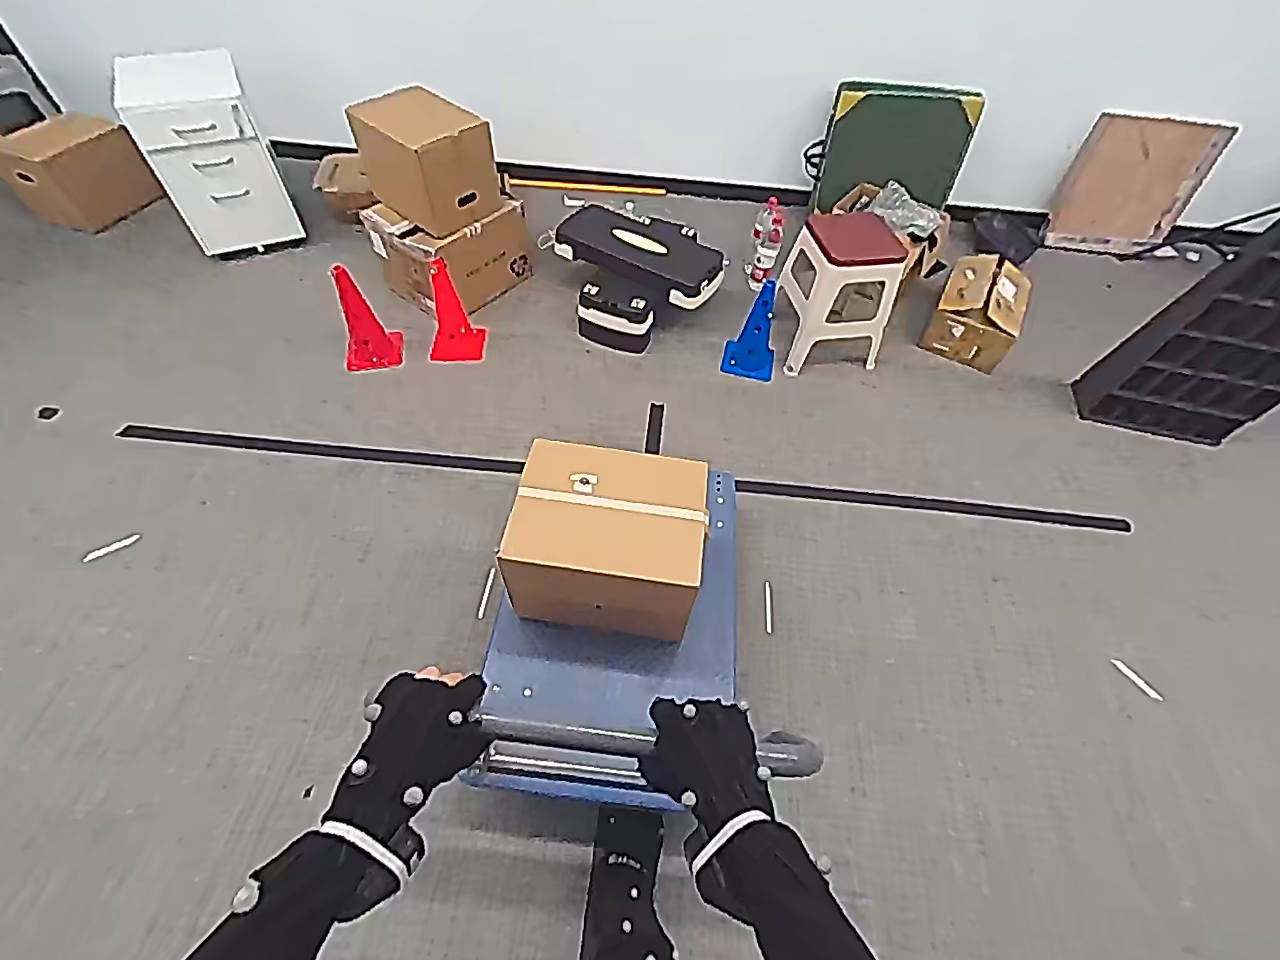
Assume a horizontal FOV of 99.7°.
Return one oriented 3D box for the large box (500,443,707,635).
[{"bbox_3d":[-0.067,0.146,1.271,0.408,0.320,0.320,8,54,3],"label":"large box"}]
